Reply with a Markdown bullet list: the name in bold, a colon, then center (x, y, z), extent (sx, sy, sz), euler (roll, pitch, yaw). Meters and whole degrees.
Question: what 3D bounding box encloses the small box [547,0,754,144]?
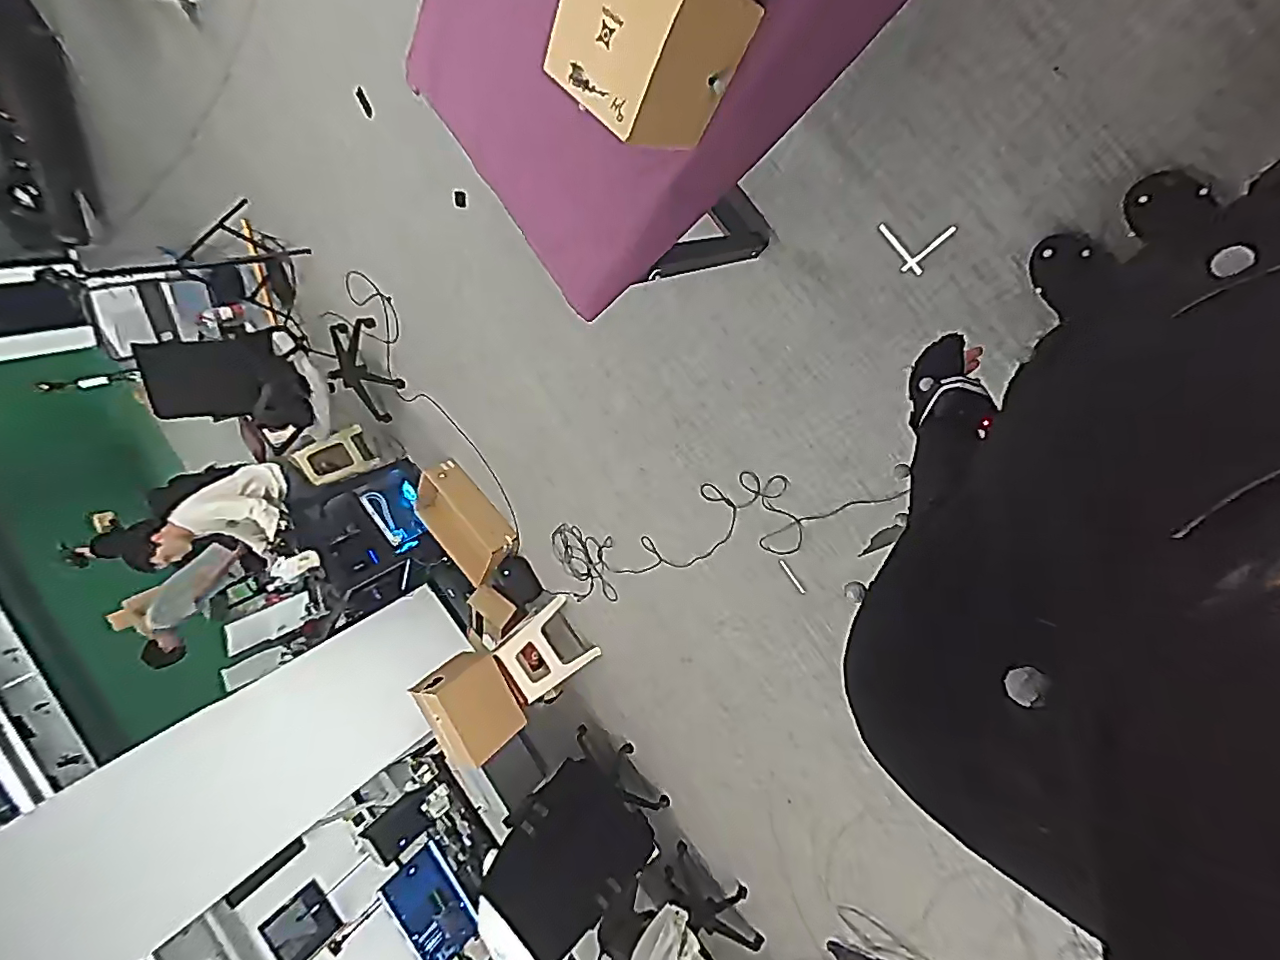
- **small box**: center (0.018, -0.561, 0.683), extent (0.168, 0.176, 0.179), euler (47, 134, 12)
